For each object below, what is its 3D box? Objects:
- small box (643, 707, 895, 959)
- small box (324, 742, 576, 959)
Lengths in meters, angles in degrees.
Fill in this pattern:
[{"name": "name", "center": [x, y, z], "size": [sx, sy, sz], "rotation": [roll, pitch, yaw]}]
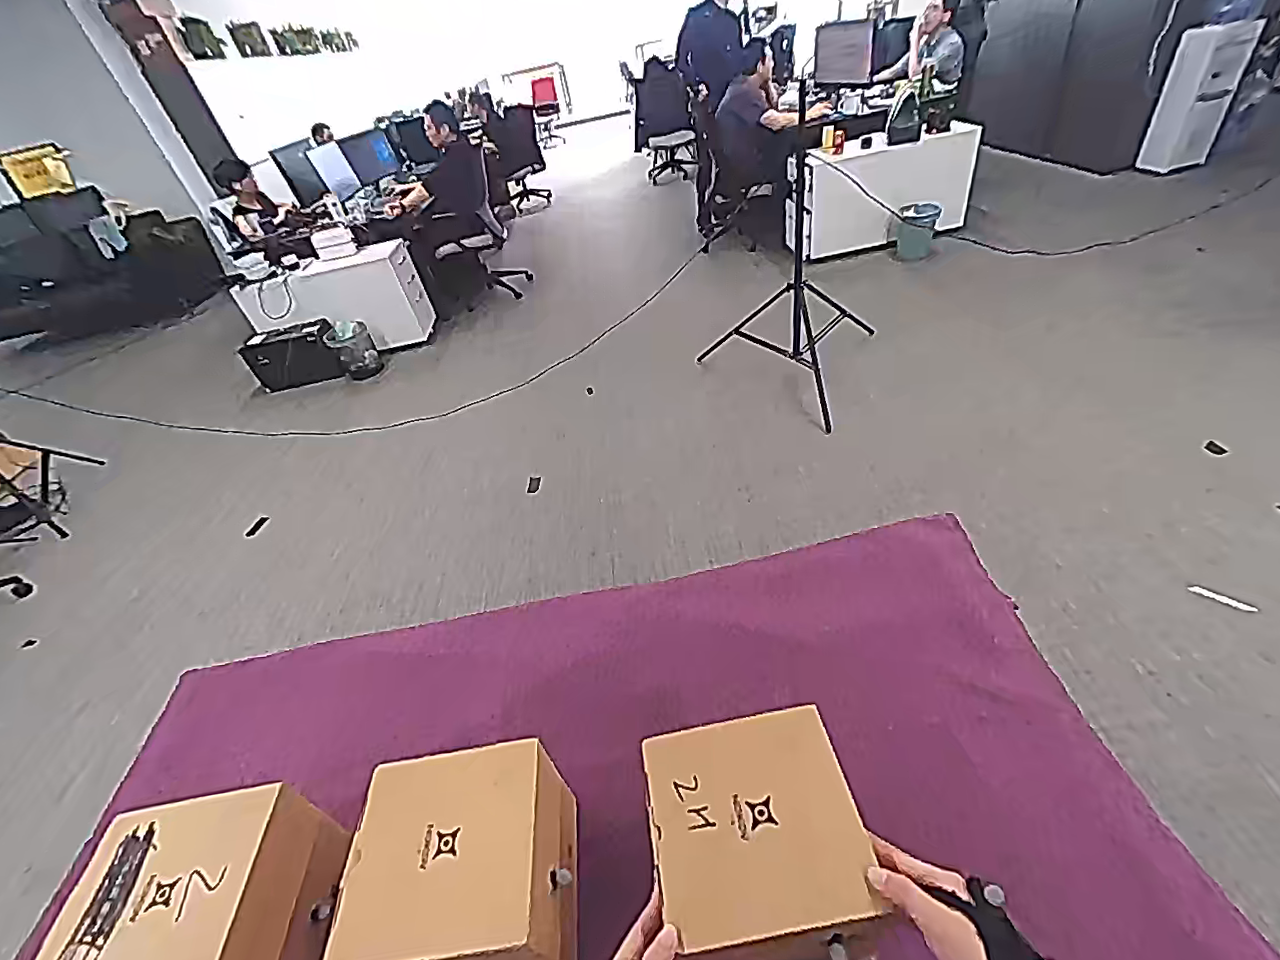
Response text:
[{"name": "small box", "center": [0.109, 0.346, 0.509], "size": [0.179, 0.176, 0.168], "rotation": [-12, 38, 1]}, {"name": "small box", "center": [-0.165, 0.391, 0.538], "size": [0.179, 0.176, 0.168], "rotation": [-12, 39, 2]}]
